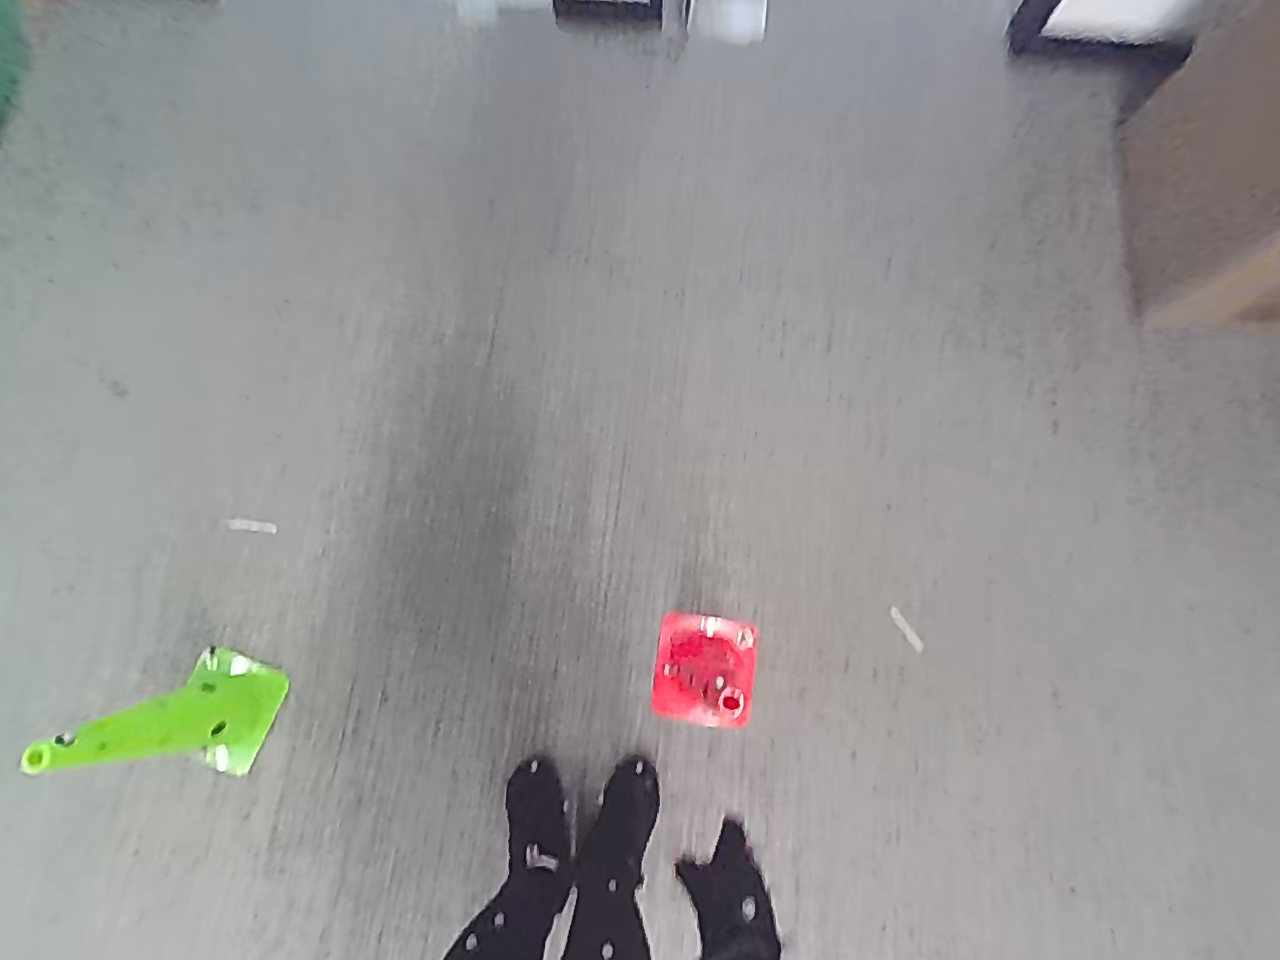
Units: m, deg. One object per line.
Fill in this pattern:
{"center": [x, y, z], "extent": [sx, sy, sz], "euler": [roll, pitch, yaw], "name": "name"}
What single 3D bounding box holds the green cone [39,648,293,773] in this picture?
{"center": [-0.838, 0.431, 0.940], "extent": [0.202, 0.368, 0.200], "euler": [19, 78, 5], "name": "green cone"}
